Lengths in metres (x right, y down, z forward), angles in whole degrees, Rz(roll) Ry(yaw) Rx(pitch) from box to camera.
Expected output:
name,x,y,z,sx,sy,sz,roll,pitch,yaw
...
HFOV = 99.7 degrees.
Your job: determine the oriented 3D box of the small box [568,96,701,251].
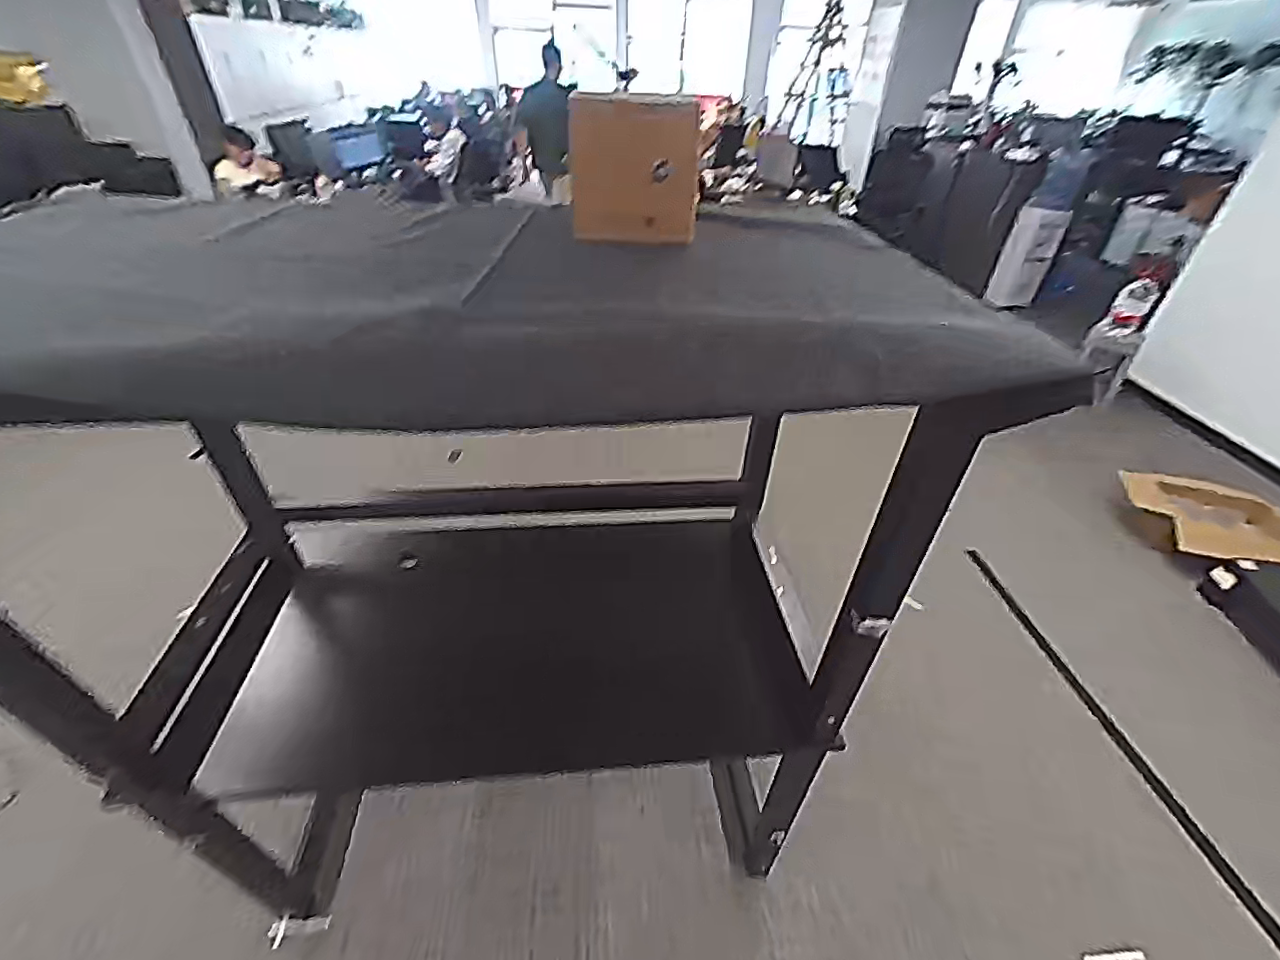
name,x,y,z,sx,sy,sz,roll,pitch,yaw
small box,-0.008,-0.433,0.764,0.168,0.176,0.179,2,37,-2
